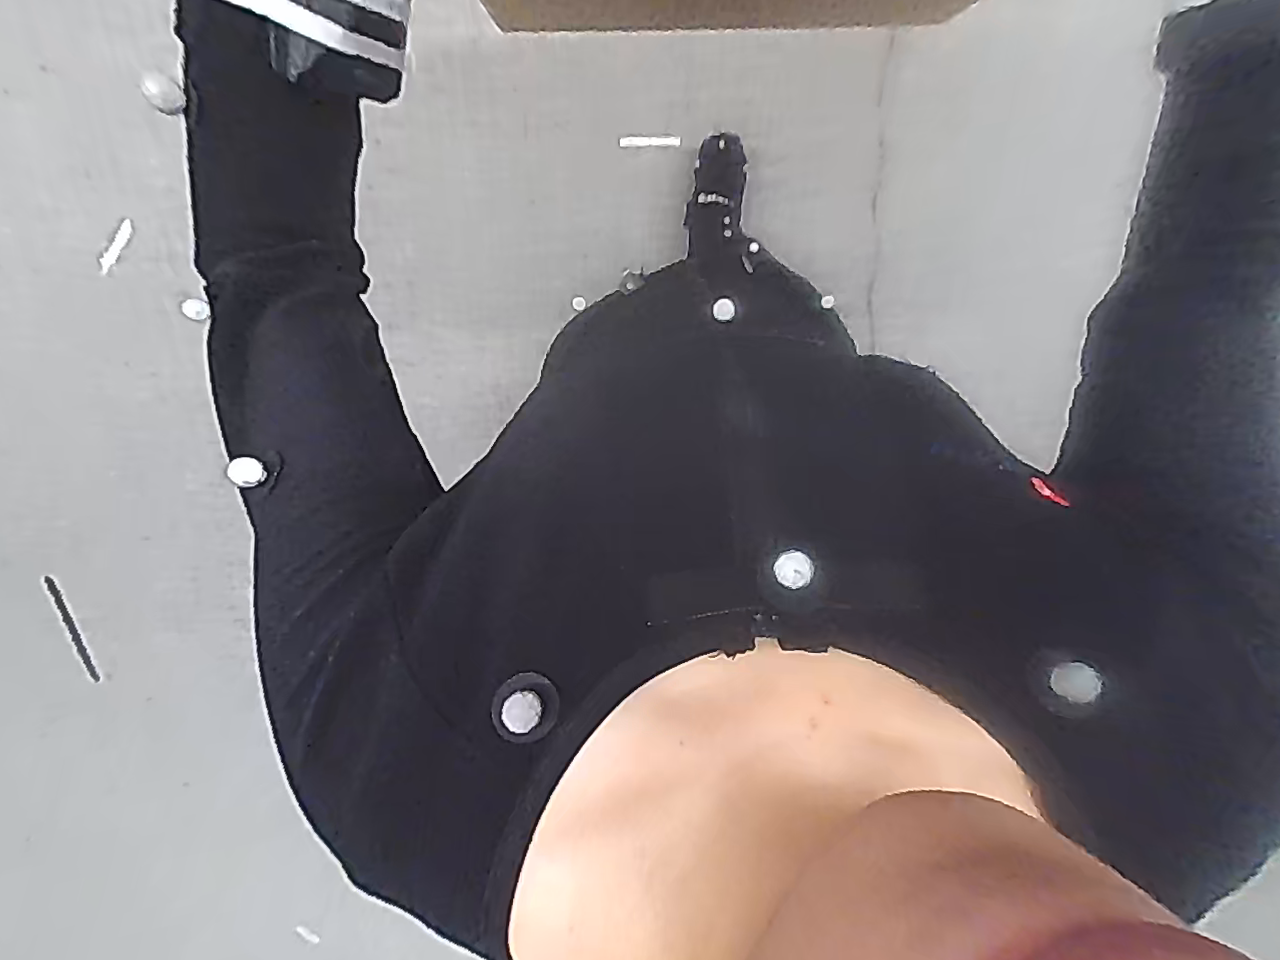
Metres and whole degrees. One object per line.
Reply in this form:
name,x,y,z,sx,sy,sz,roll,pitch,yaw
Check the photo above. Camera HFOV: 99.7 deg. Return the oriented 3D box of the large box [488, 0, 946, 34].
large box,0.068,-0.494,0.295,0.408,0.320,0.320,-2,115,0
